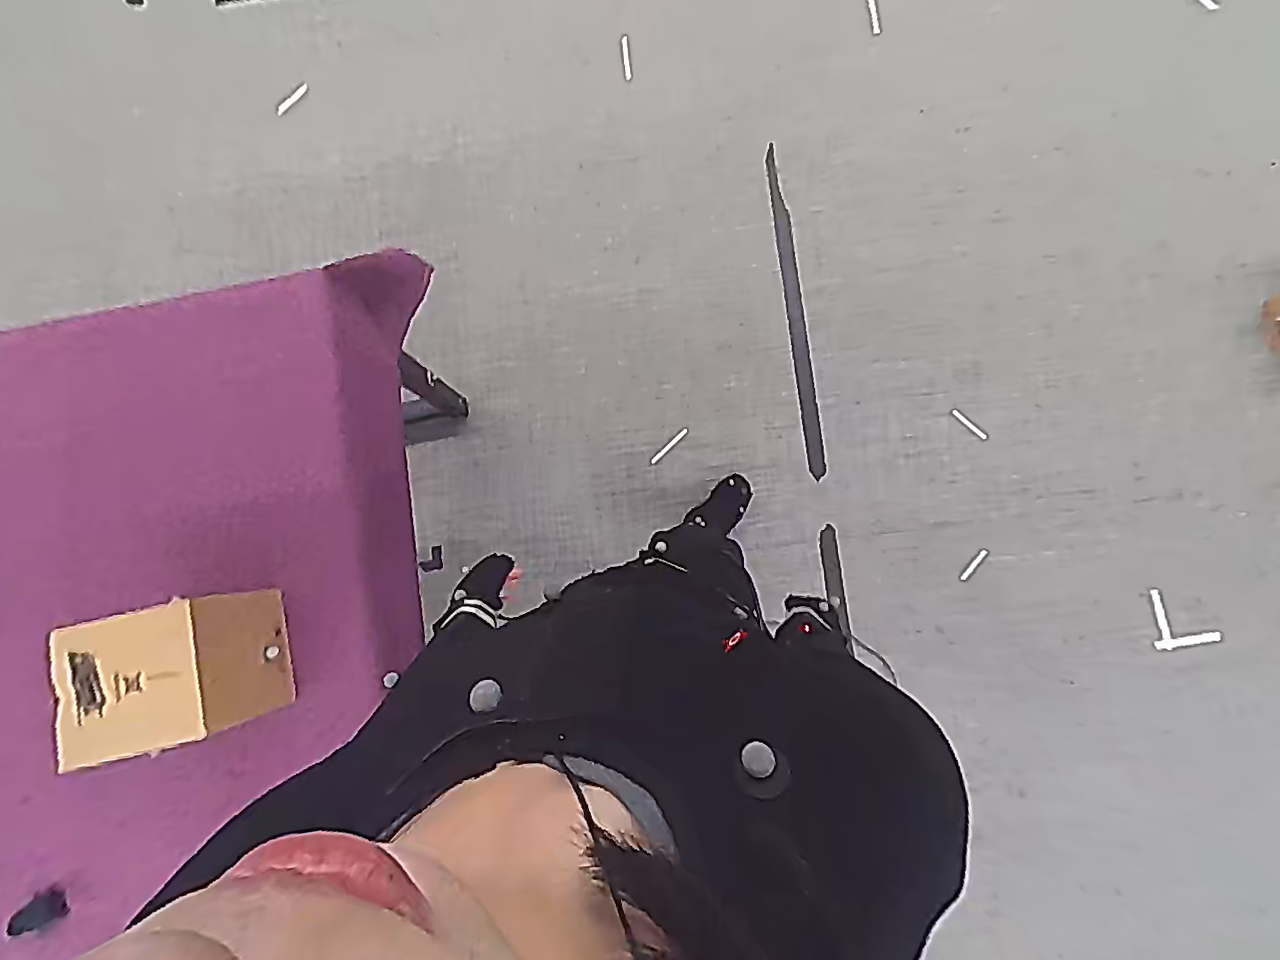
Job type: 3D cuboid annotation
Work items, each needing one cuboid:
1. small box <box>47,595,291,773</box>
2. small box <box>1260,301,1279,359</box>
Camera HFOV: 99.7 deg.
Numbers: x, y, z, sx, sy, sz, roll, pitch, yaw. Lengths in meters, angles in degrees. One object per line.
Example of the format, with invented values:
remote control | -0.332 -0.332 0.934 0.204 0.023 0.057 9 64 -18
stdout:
small box | -0.609 0.256 0.717 0.179 0.176 0.168 -13 82 -1
small box | 1.889 -0.442 1.479 0.179 0.176 0.168 -4 80 2
